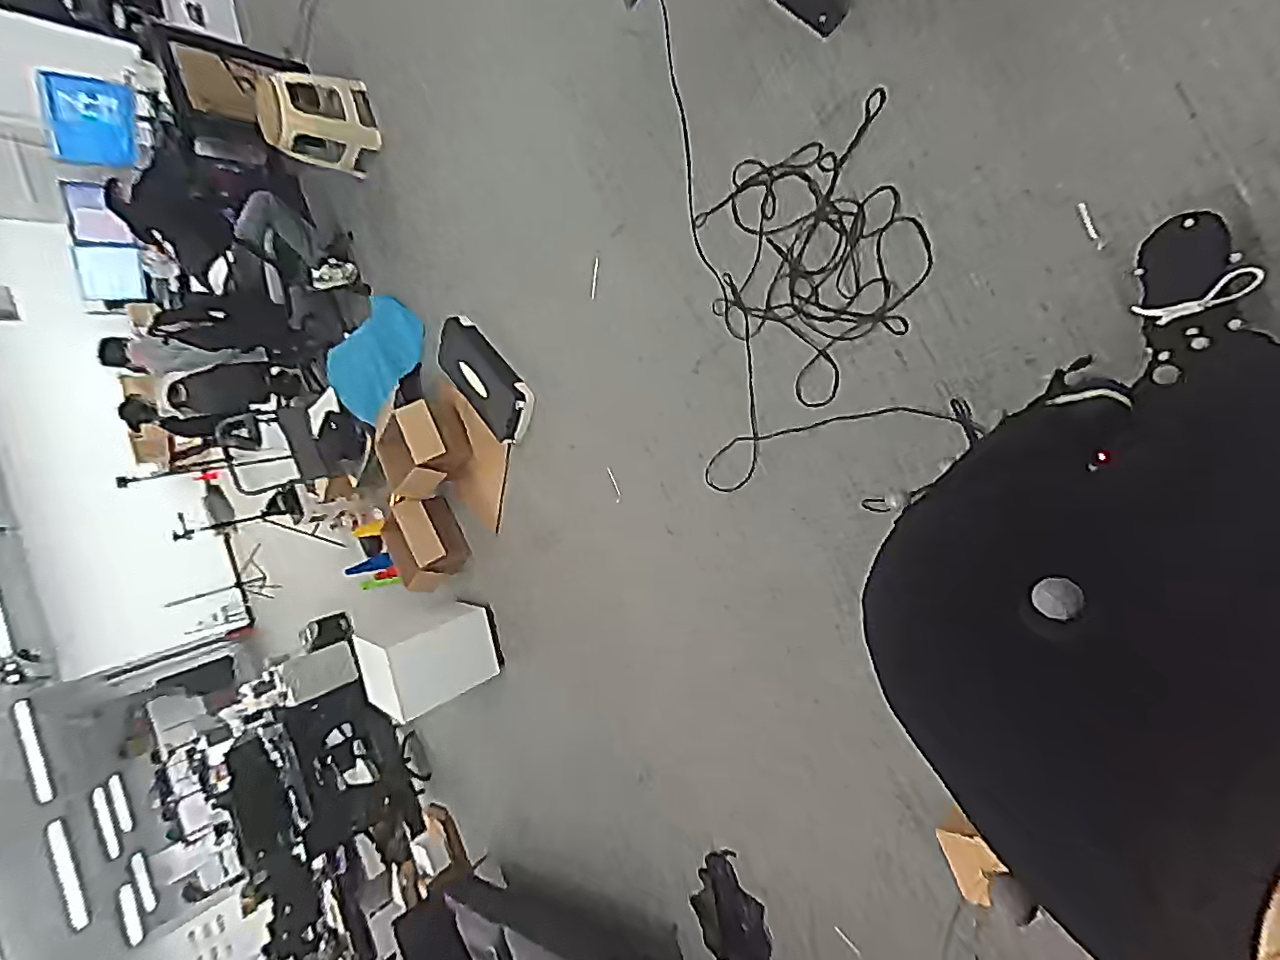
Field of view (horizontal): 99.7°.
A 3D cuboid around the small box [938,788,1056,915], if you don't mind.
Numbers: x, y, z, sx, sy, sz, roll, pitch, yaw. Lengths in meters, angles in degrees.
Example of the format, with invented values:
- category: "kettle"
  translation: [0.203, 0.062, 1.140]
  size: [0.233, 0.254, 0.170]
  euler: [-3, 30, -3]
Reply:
- category: "small box"
  translation: [0.861, 0.881, 1.301]
  size: [0.168, 0.176, 0.179]
  euler: [-30, 80, 46]
